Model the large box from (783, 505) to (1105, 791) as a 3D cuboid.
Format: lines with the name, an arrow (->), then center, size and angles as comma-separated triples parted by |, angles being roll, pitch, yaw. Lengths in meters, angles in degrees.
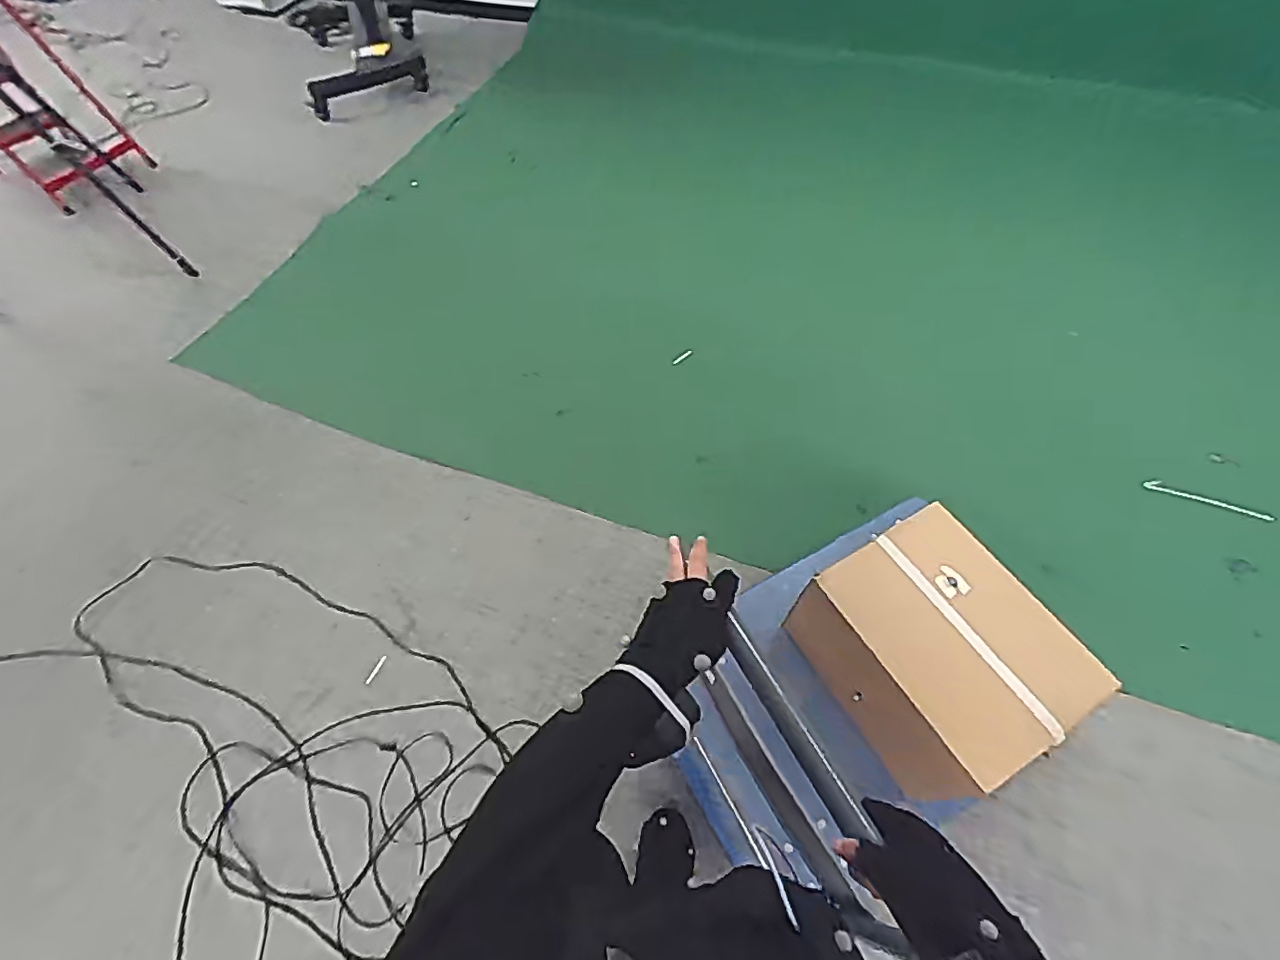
large box -> 0.551, 0.335, 1.078 | 0.320, 0.320, 0.408 | -27, 61, -14
